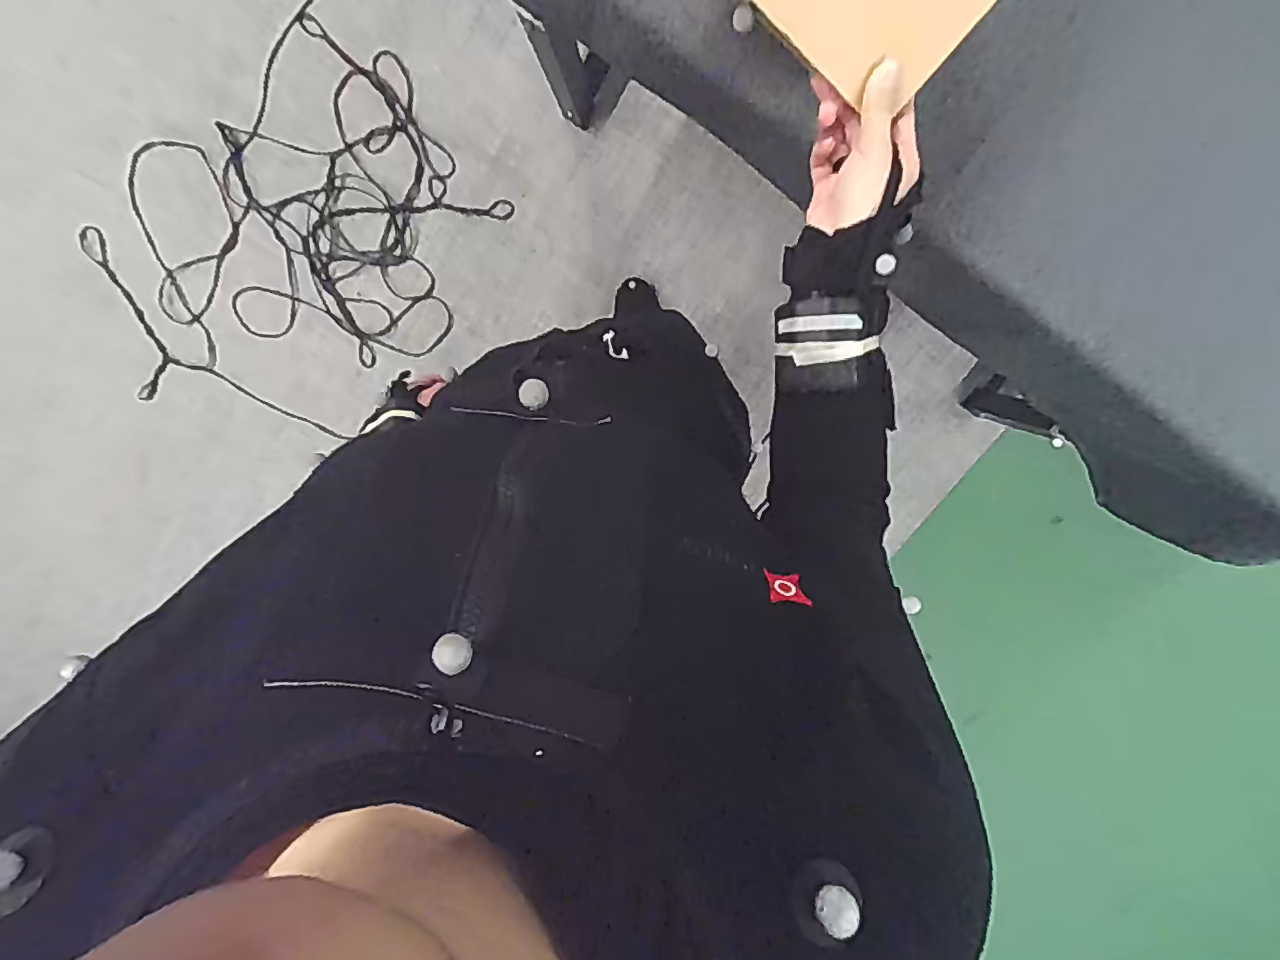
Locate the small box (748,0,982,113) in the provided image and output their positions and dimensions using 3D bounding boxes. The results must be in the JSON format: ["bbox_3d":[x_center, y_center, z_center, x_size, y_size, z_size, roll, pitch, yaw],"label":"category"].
[{"bbox_3d":[0.144,-0.384,0.339,0.168,0.176,0.179,25,128,-25],"label":"small box"}]

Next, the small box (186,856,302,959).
[{"bbox_3d":[-1.055,1.173,1.455,0.168,0.176,0.179,29,103,-6],"label":"small box"}]
